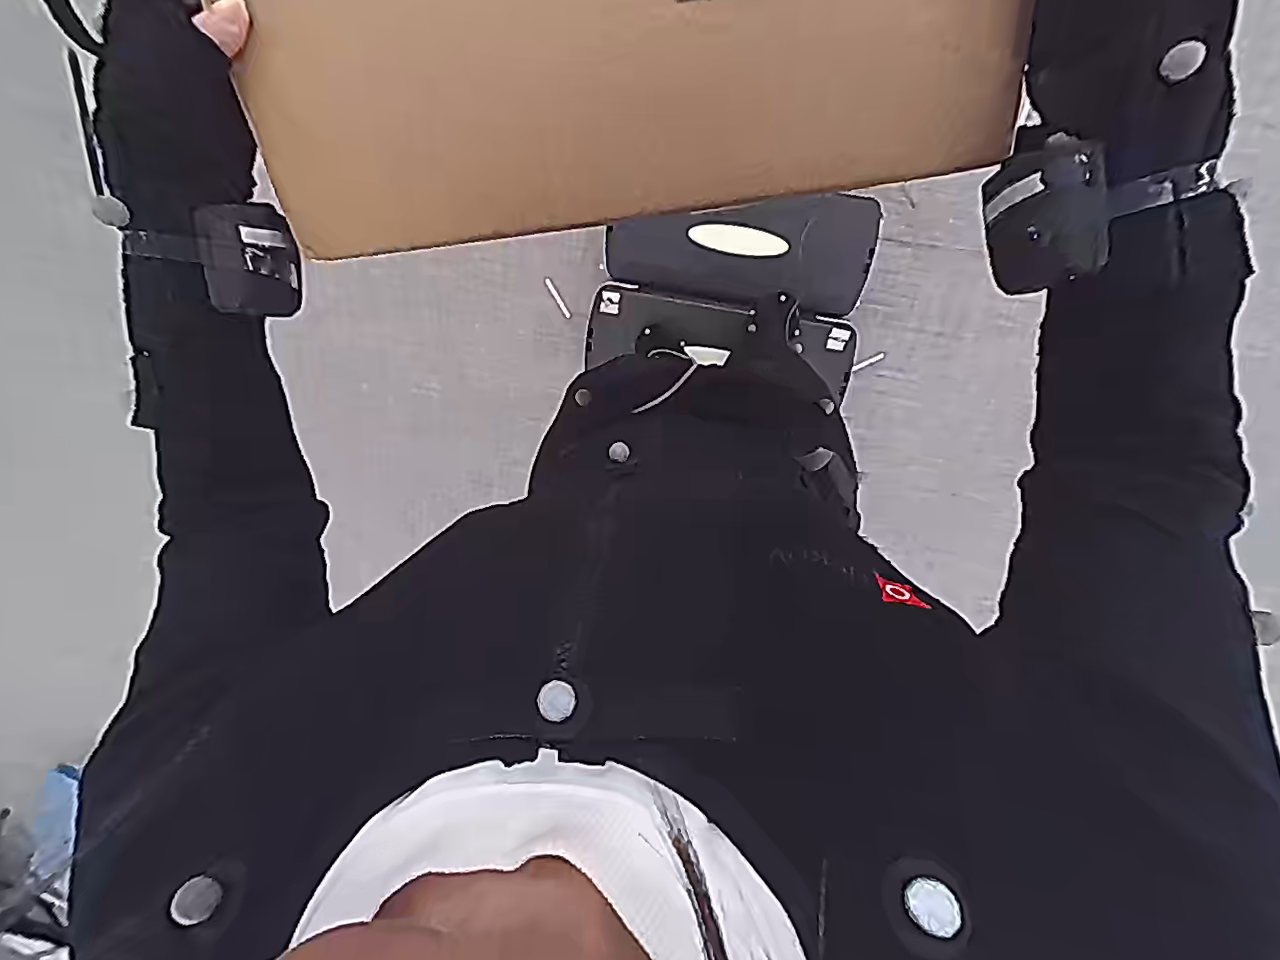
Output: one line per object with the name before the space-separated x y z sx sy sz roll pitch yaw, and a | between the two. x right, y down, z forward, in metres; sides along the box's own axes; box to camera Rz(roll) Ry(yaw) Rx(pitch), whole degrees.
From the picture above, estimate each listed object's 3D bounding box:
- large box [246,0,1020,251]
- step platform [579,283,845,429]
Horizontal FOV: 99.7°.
large box | -0.007 -0.364 0.387 0.408 0.320 0.320 -4 117 8
step platform | 0.181 -0.334 1.446 0.684 0.204 0.286 10 111 5
